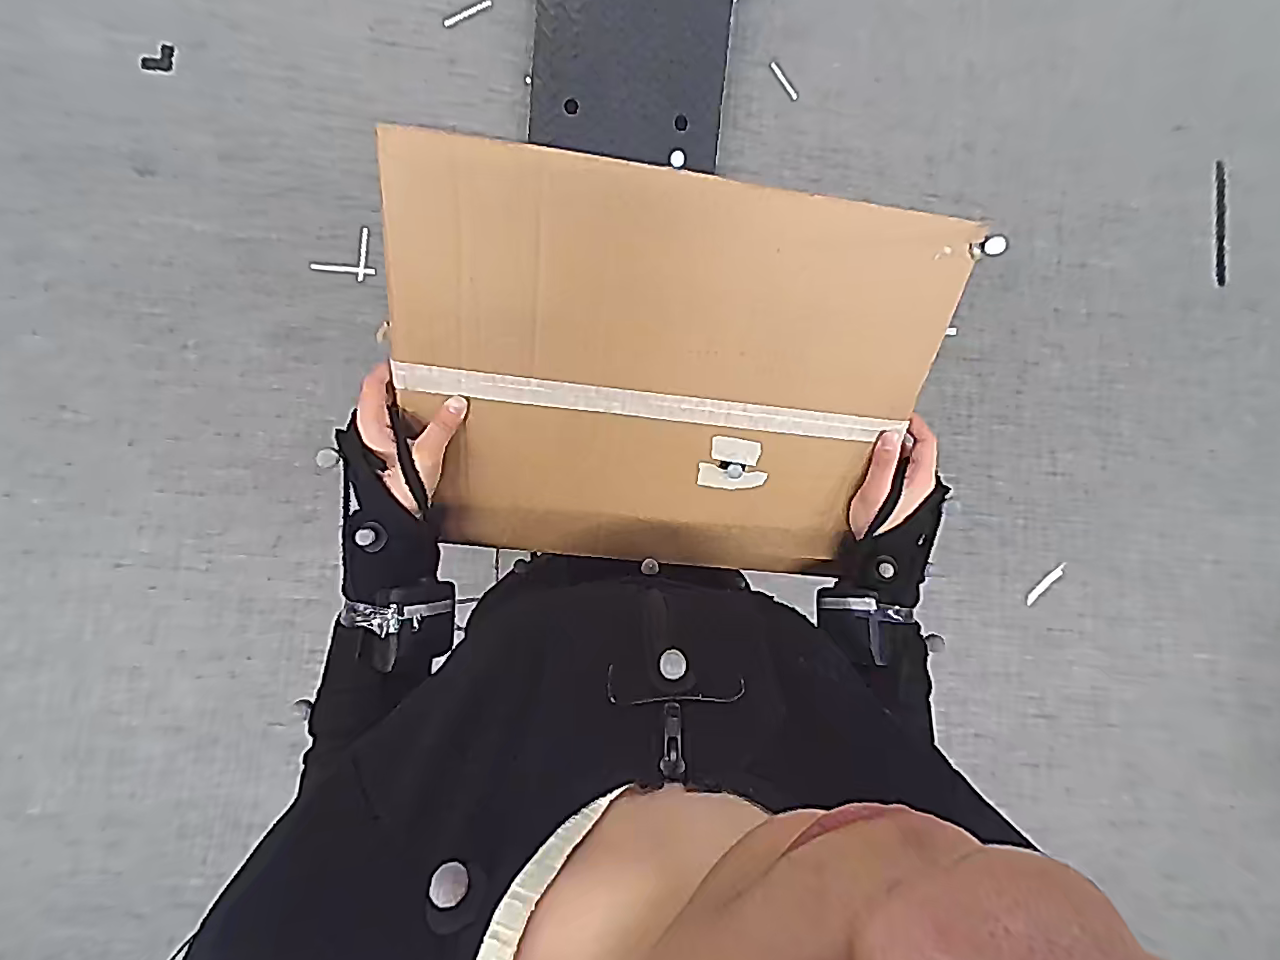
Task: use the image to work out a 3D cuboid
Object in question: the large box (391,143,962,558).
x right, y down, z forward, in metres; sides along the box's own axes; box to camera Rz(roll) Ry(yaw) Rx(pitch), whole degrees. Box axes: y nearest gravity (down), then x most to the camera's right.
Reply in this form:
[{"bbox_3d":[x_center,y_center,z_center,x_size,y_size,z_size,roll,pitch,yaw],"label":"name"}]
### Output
[{"bbox_3d":[0.007,-0.142,0.566,0.408,0.320,0.320,5,121,-7],"label":"large box"}]
